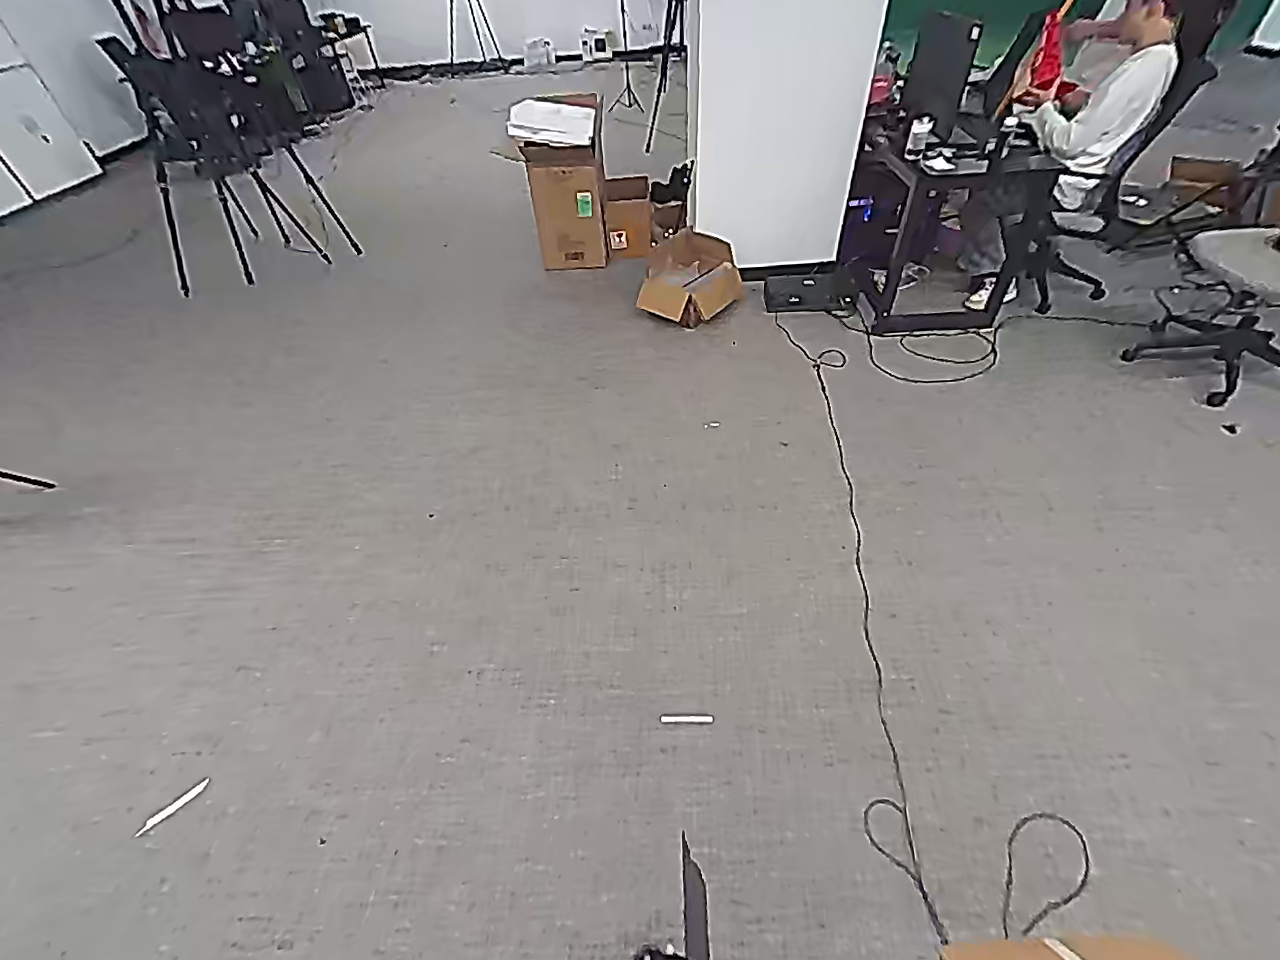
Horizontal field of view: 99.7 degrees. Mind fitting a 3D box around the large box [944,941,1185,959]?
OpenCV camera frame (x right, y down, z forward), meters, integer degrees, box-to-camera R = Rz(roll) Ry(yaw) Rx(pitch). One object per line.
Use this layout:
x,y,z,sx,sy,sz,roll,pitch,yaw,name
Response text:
0.587,0.758,0.546,0.320,0.408,0.320,-5,74,1,large box
